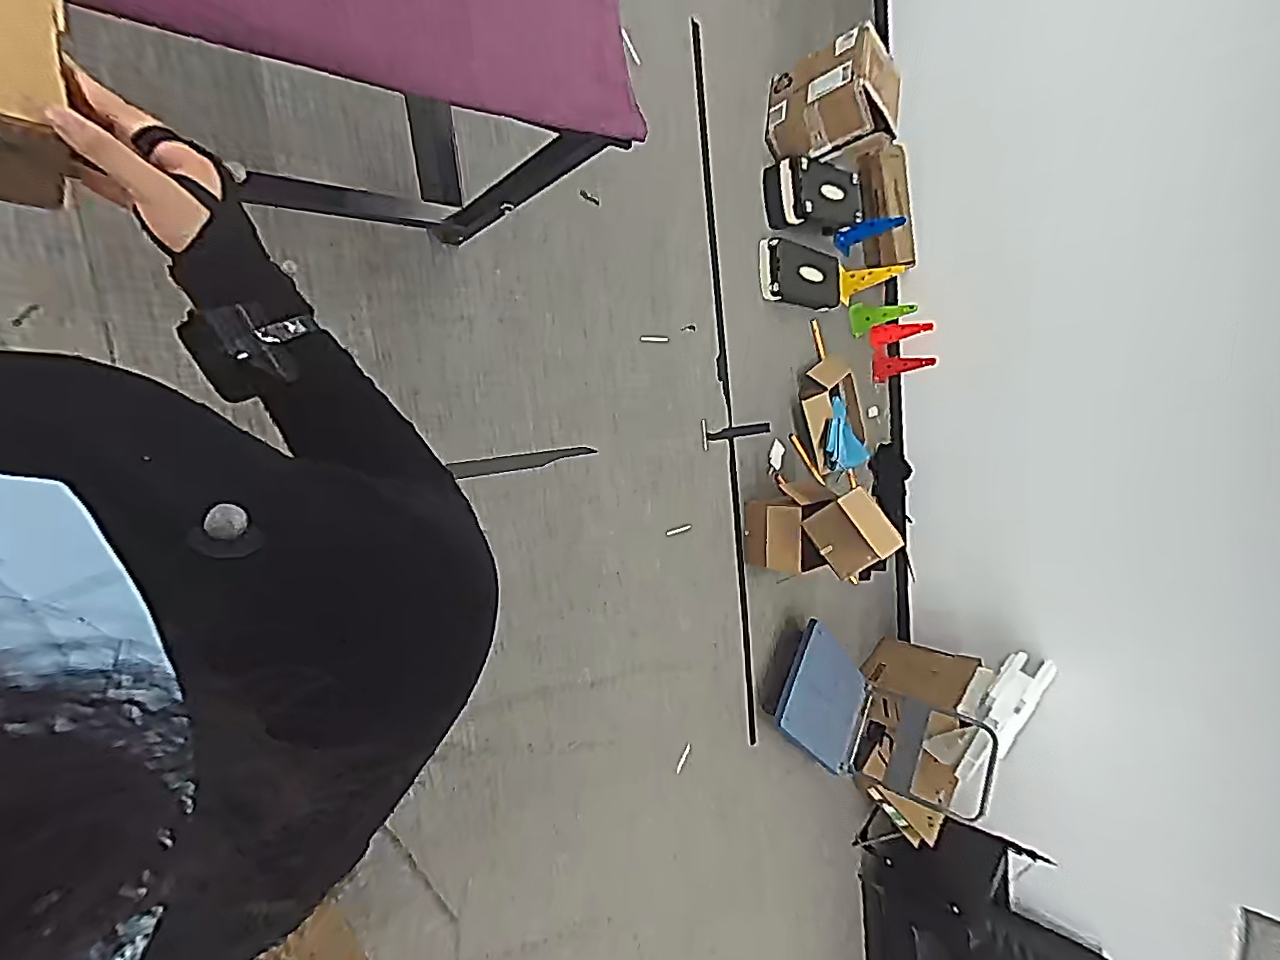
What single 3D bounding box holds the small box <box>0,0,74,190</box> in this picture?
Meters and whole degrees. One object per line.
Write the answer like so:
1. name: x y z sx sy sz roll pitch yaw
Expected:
1. small box: -0.466 -0.298 0.315 0.179 0.176 0.168 -7 97 -49
